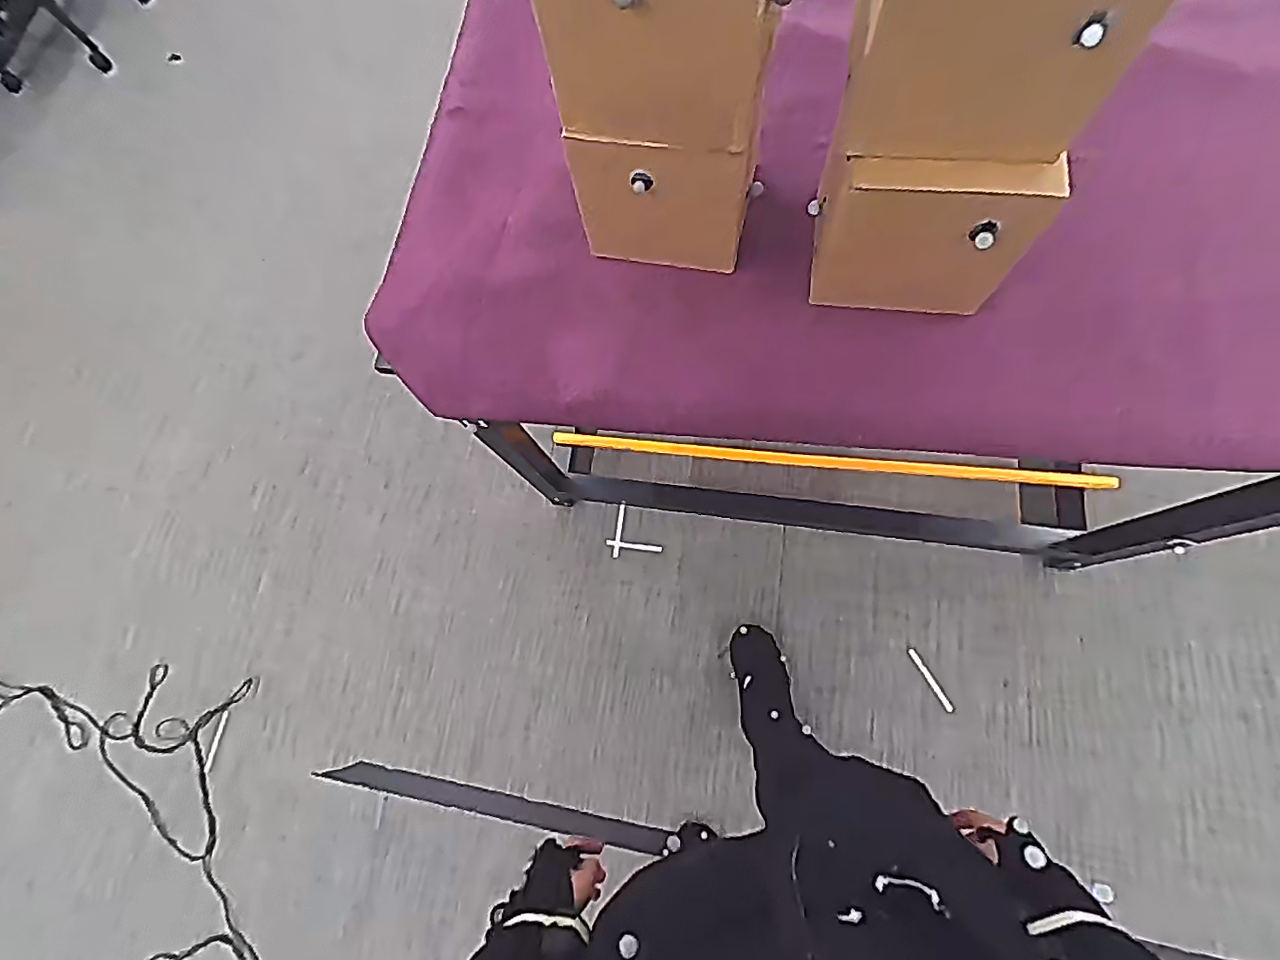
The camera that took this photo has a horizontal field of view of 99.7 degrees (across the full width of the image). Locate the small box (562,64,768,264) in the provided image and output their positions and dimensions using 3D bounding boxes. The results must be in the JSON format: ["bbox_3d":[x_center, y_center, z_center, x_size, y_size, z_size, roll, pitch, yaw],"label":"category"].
[{"bbox_3d":[0.035,-0.364,0.595,0.179,0.176,0.168,11,75,8],"label":"small box"}]

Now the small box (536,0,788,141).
[{"bbox_3d":[0.028,-0.413,0.439,0.179,0.176,0.168,15,76,11],"label":"small box"}]

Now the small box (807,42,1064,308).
[{"bbox_3d":[0.280,-0.295,0.547,0.179,0.176,0.168,7,73,9],"label":"small box"}]
